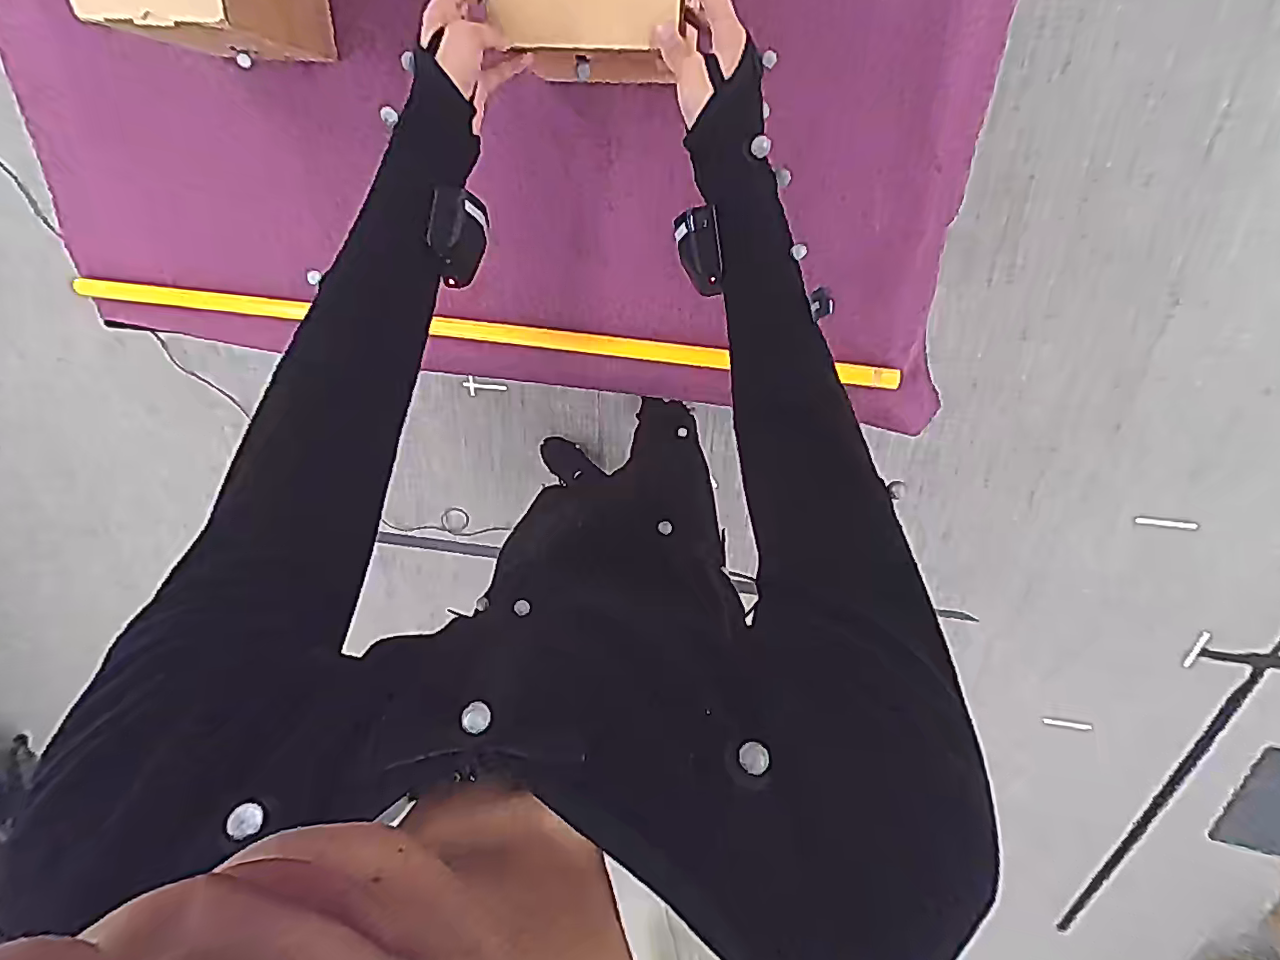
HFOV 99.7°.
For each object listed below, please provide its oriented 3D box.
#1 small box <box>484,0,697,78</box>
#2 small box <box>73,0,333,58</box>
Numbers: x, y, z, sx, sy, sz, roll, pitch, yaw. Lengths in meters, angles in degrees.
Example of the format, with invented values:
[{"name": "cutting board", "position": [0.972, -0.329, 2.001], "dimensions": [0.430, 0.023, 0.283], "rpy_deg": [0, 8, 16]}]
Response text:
[{"name": "small box", "position": [-0.035, -0.493, 0.506], "dimensions": [0.179, 0.176, 0.168], "rpy_deg": [8, 119, 8]}, {"name": "small box", "position": [-0.451, -0.559, 0.548], "dimensions": [0.168, 0.176, 0.179], "rpy_deg": [8, 119, 6]}]
